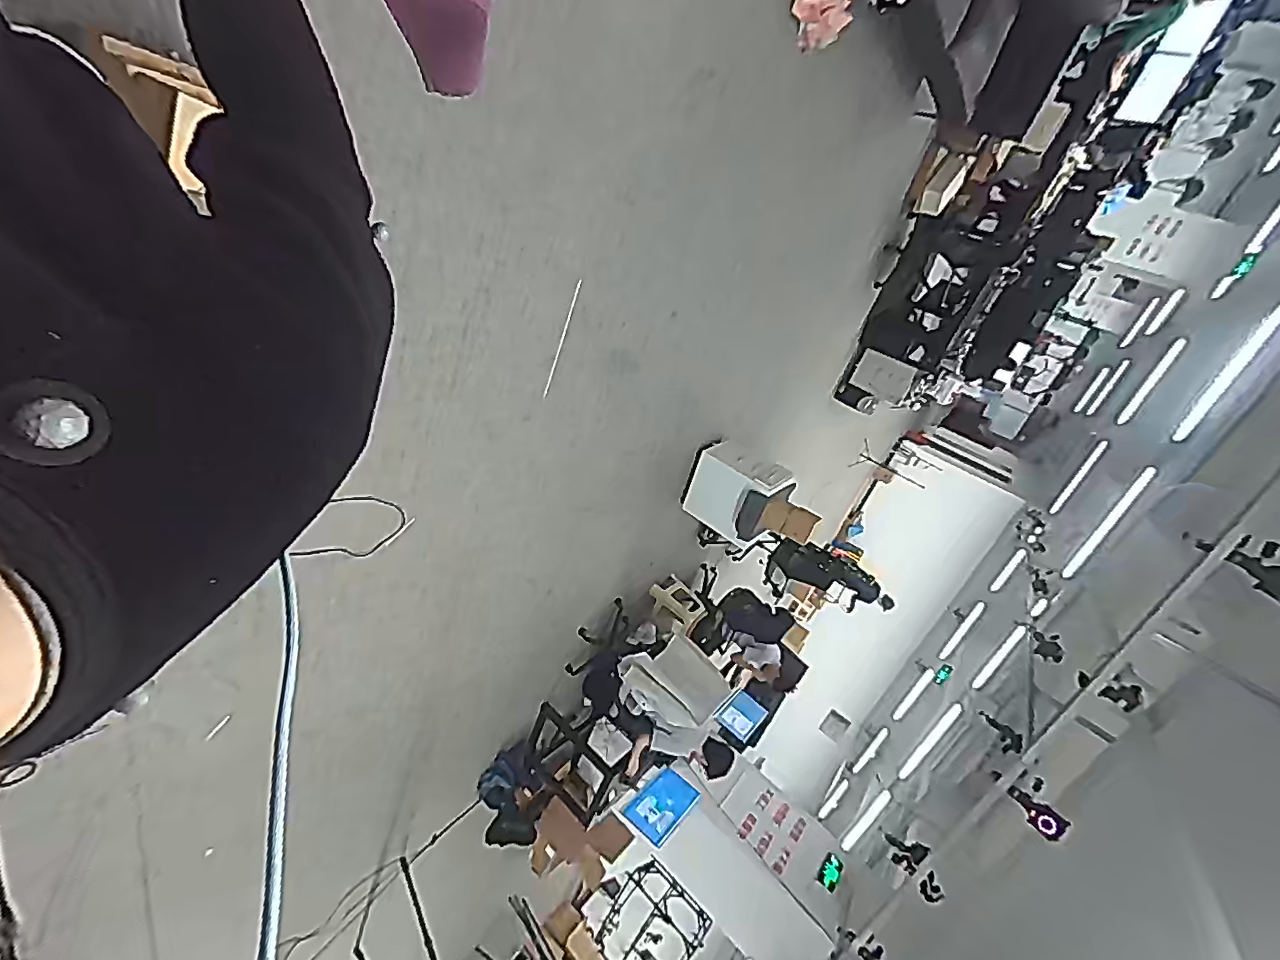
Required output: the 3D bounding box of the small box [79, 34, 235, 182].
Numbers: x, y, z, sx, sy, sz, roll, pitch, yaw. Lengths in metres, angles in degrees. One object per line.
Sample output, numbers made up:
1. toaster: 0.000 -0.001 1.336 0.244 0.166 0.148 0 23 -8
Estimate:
1. small box: -0.875 -0.675 0.986 0.179 0.176 0.168 -14 131 -52
